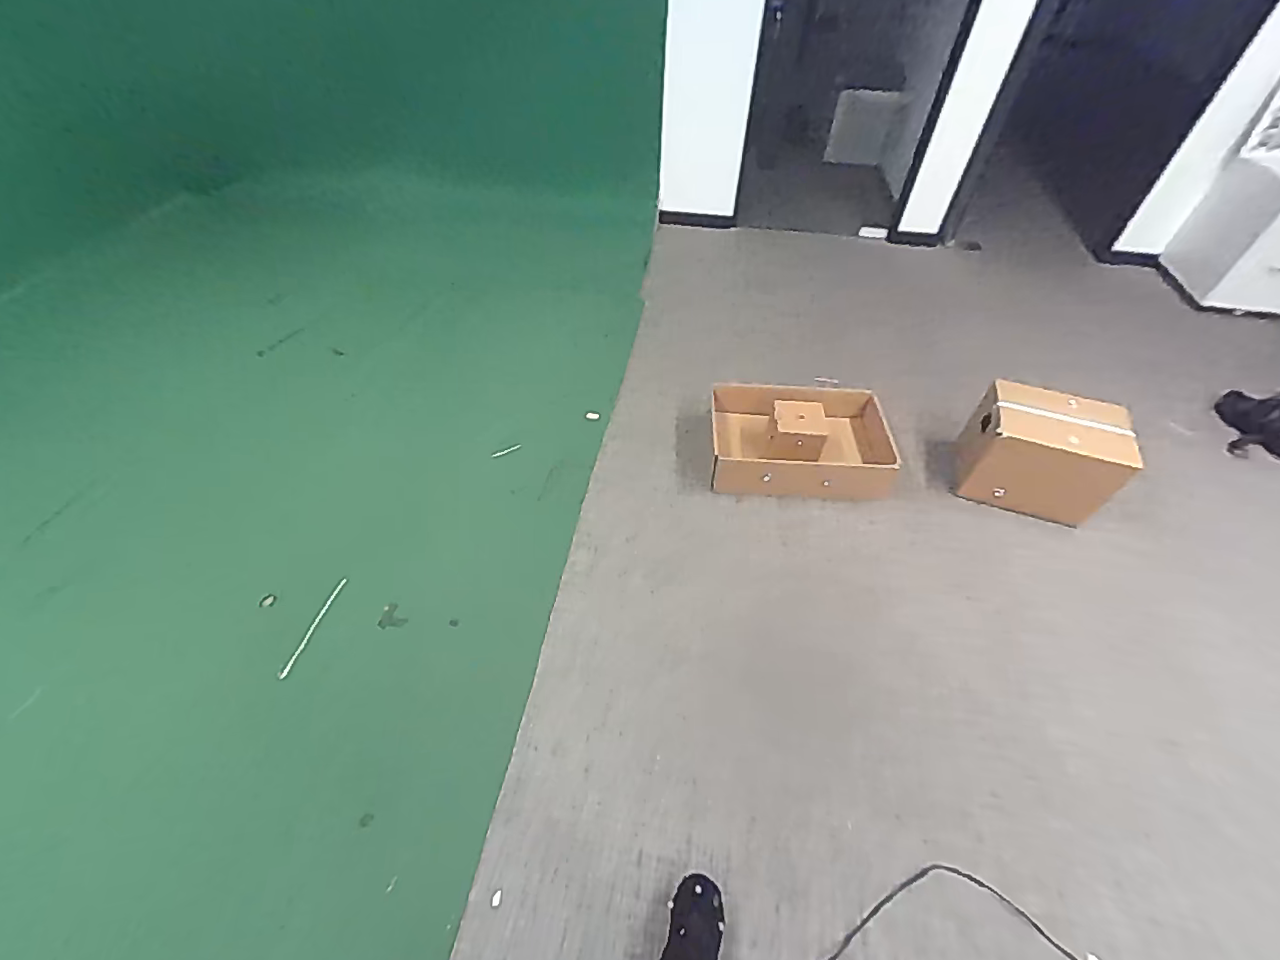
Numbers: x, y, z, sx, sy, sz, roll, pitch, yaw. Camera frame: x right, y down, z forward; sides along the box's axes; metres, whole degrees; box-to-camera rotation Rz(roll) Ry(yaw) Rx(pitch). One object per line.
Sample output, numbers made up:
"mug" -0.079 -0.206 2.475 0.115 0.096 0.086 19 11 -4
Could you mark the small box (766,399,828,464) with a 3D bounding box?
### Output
"small box" 0.557 -0.172 1.948 0.179 0.176 0.168 5 49 0
